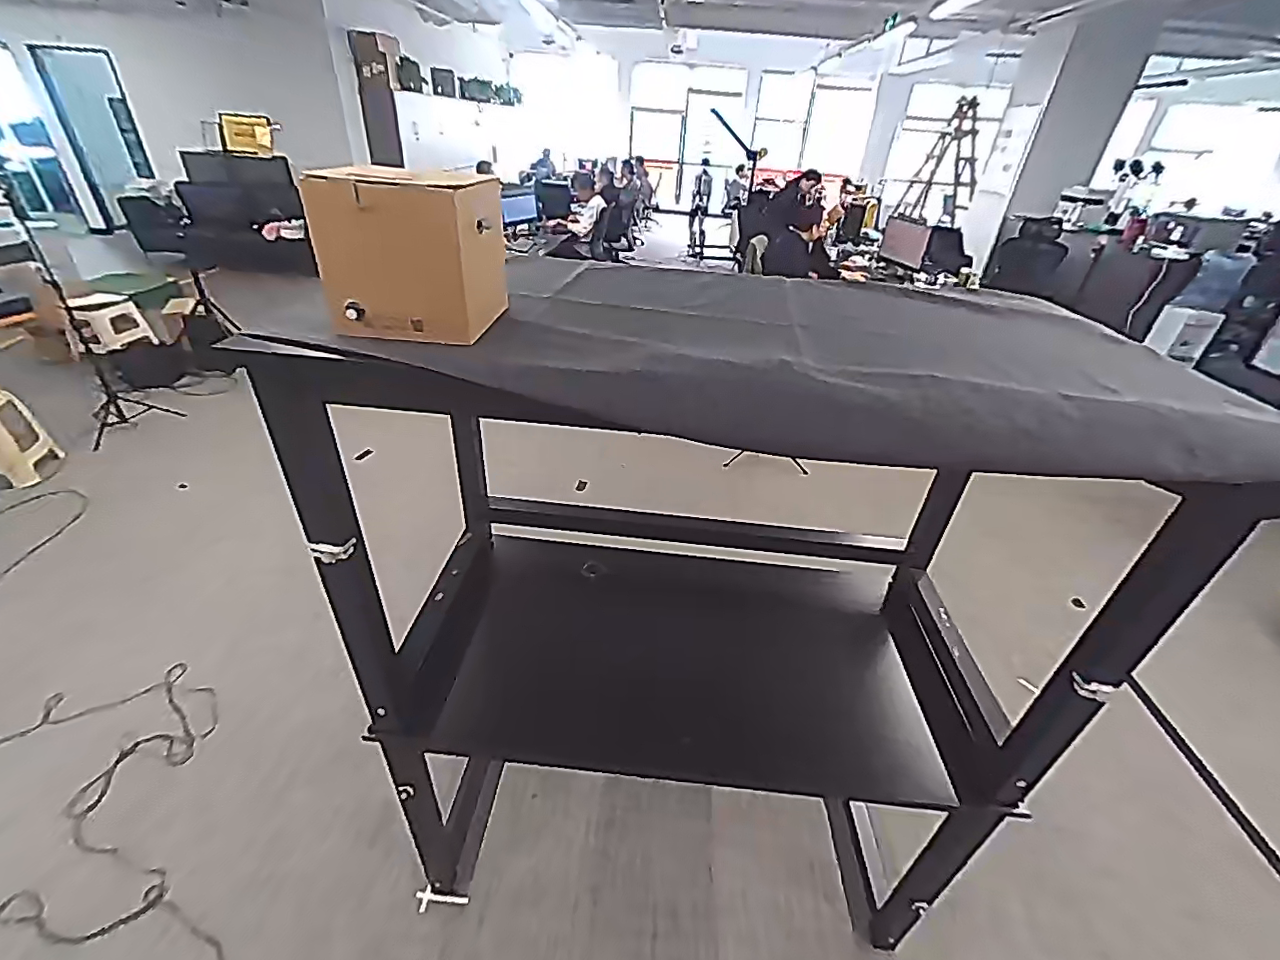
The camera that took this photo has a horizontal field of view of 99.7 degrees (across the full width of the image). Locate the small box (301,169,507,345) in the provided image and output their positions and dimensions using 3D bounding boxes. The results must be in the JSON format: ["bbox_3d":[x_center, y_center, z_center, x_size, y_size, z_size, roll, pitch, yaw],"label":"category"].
[{"bbox_3d":[-0.266,-0.275,0.662,0.168,0.176,0.179,5,33,0],"label":"small box"}]
